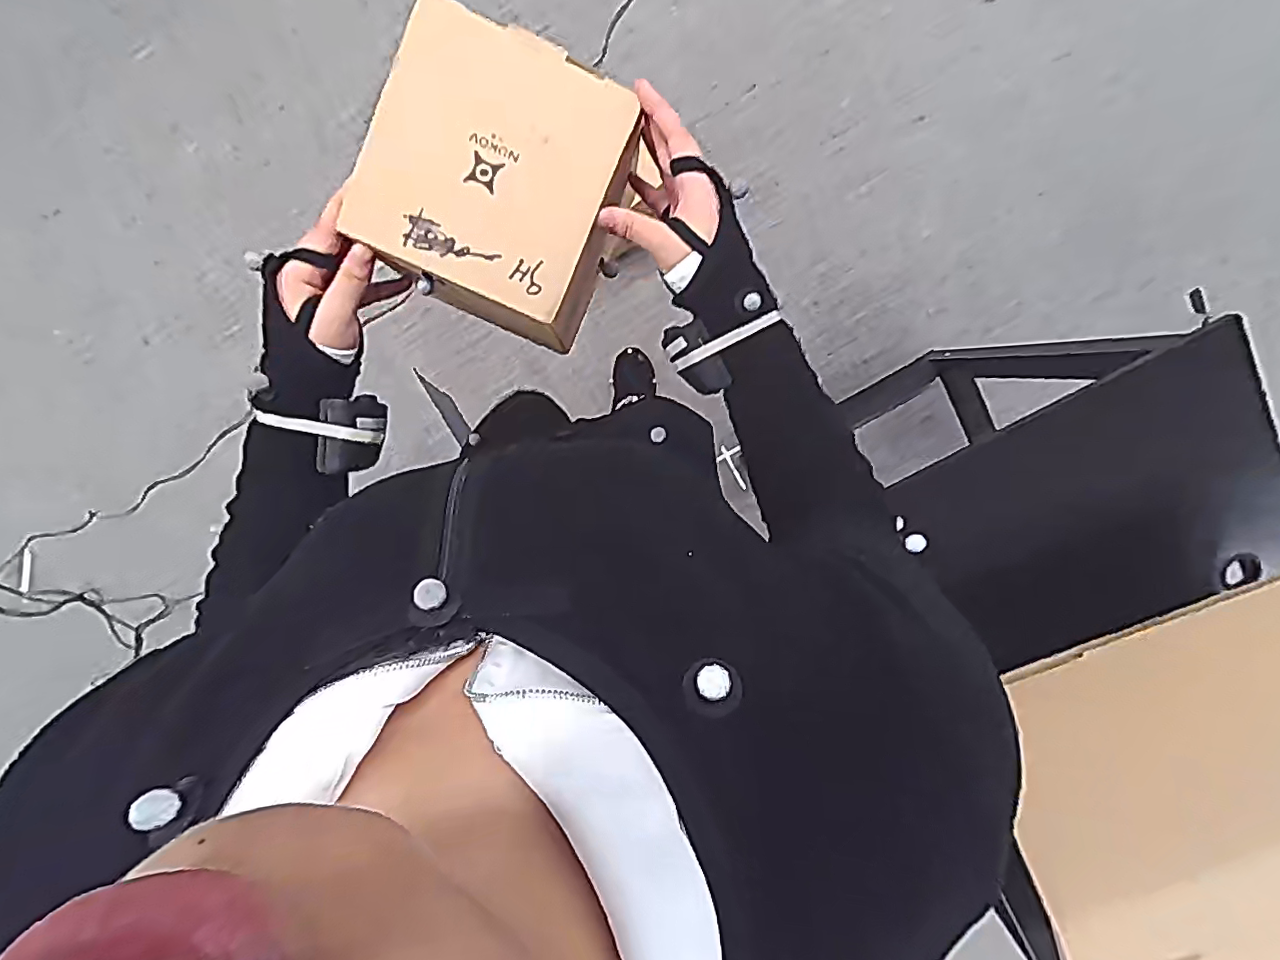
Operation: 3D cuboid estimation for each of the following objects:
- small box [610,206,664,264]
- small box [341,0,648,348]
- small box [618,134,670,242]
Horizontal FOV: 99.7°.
[{"bbox_3d":[-0.060,-0.640,1.283,0.179,0.176,0.168,-32,99,6],"label":"small box"},{"bbox_3d":[-0.107,-0.235,0.459,0.168,0.176,0.179,23,92,-4],"label":"small box"},{"bbox_3d":[-0.055,-0.614,1.123,0.179,0.176,0.168,-36,100,5],"label":"small box"}]
